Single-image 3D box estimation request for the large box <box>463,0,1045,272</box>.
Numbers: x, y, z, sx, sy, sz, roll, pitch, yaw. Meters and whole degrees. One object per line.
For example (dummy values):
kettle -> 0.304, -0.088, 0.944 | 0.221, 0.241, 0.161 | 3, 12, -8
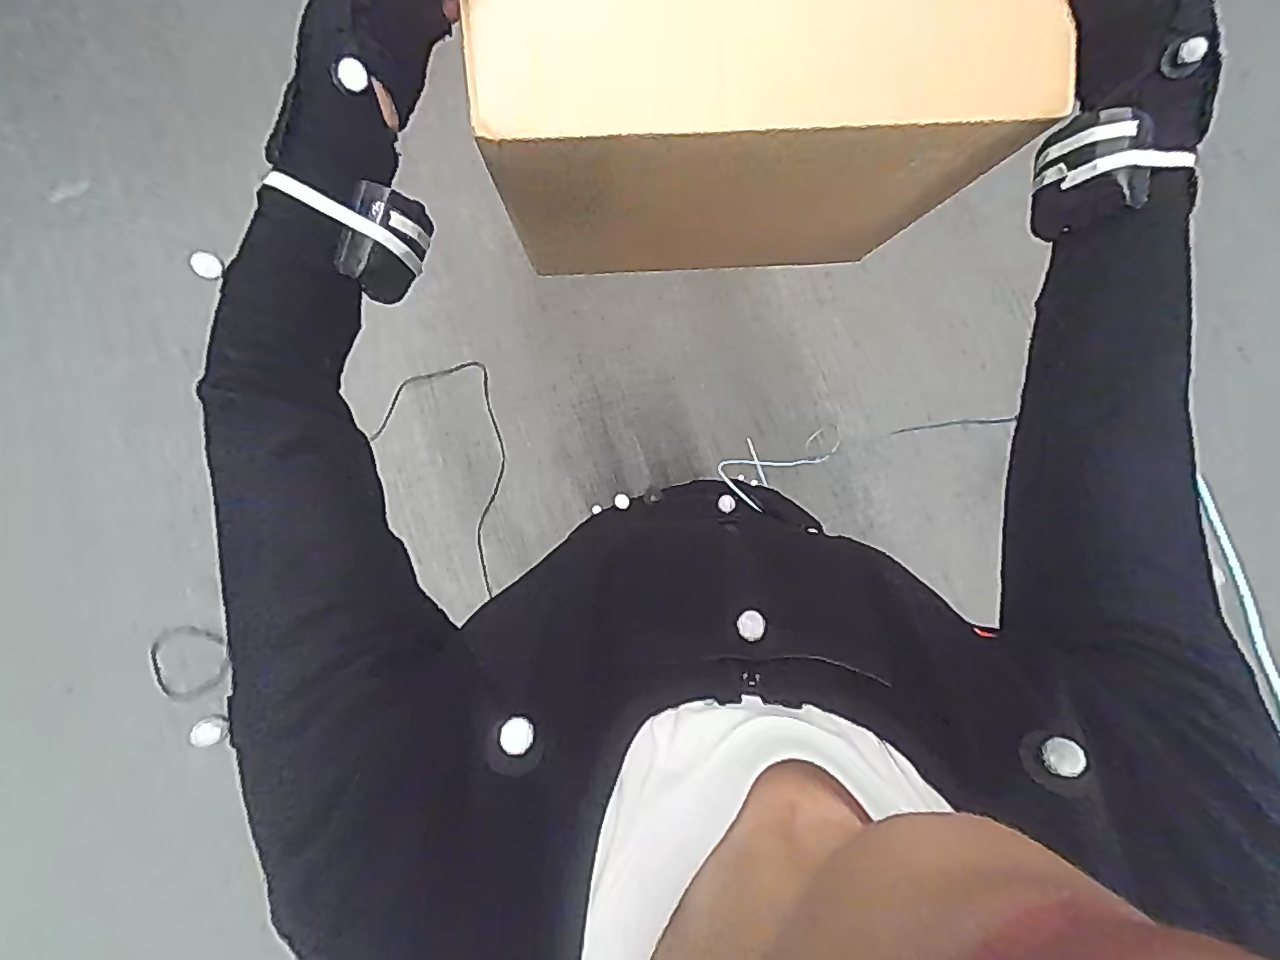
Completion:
large box -> 0.063, -0.408, 0.504 | 0.408, 0.320, 0.320 | -5, 95, -4
